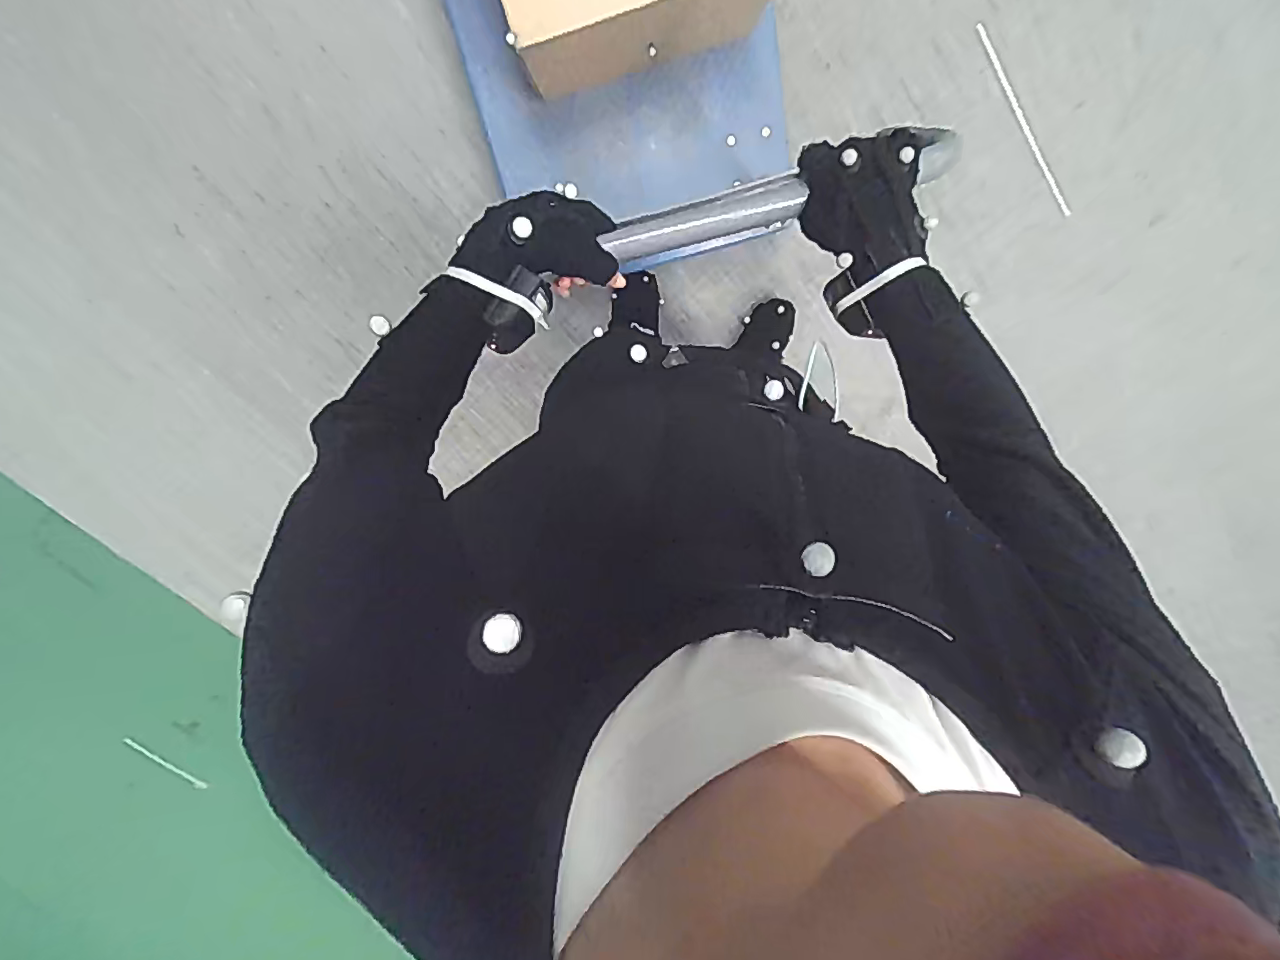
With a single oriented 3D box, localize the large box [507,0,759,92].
[{"bbox_3d":[-0.024,-0.863,0.823,0.408,0.320,0.320,-16,113,5],"label":"large box"}]
